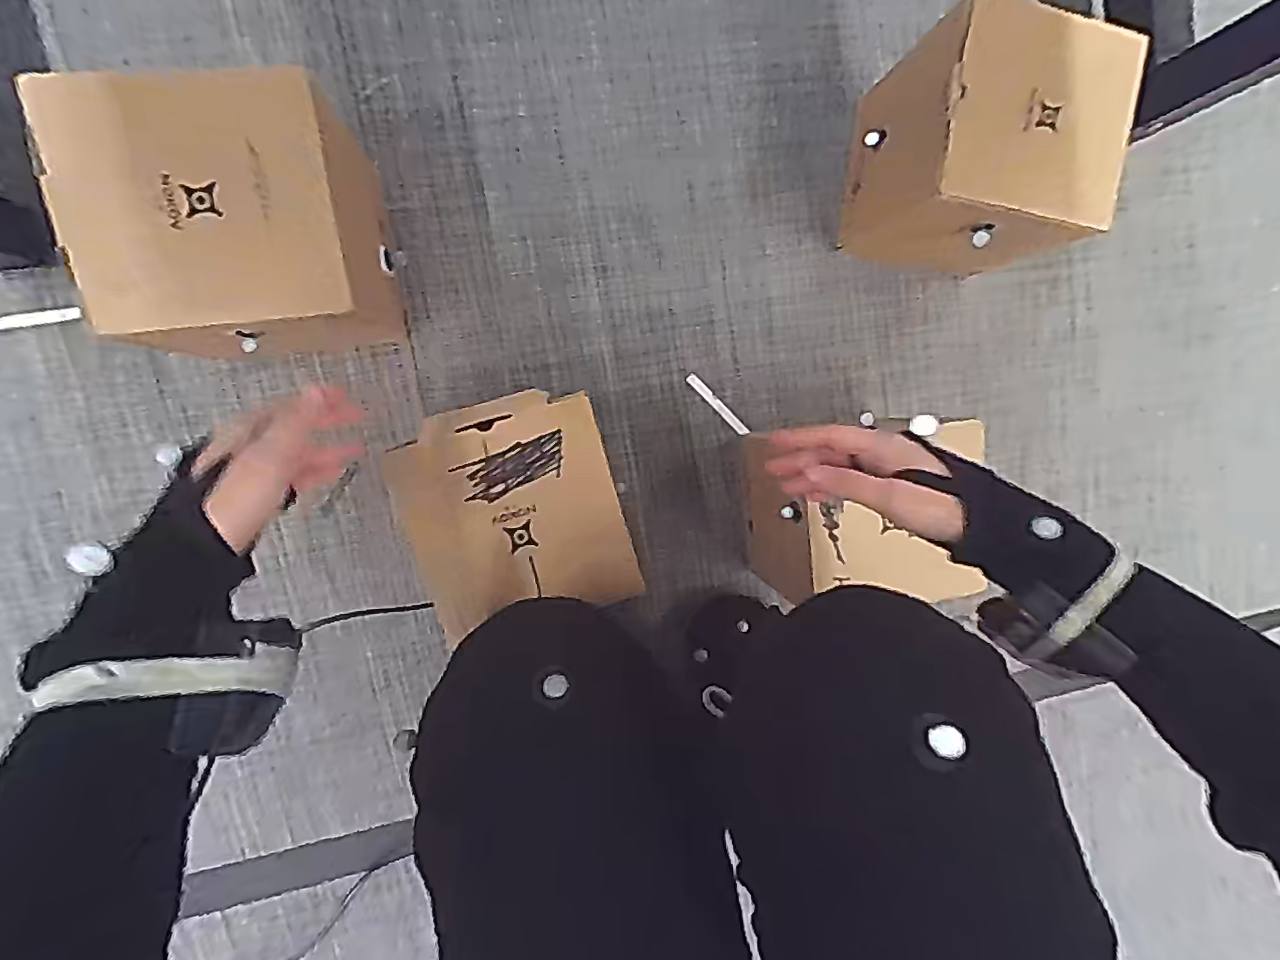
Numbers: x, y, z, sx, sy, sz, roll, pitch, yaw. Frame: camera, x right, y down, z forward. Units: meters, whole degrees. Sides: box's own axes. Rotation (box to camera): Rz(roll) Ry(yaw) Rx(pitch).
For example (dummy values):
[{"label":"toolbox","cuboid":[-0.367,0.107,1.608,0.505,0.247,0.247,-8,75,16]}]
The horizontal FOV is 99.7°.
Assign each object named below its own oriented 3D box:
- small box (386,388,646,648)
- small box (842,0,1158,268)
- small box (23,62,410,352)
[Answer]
[{"label":"small box","cuboid":[-0.107,0.021,0.508,0.168,0.176,0.179,-17,101,-6]},{"label":"small box","cuboid":[0.333,-0.321,0.533,0.179,0.176,0.168,7,97,-9]},{"label":"small box","cuboid":[-0.312,-0.202,0.444,0.179,0.176,0.168,-8,99,-9]}]
